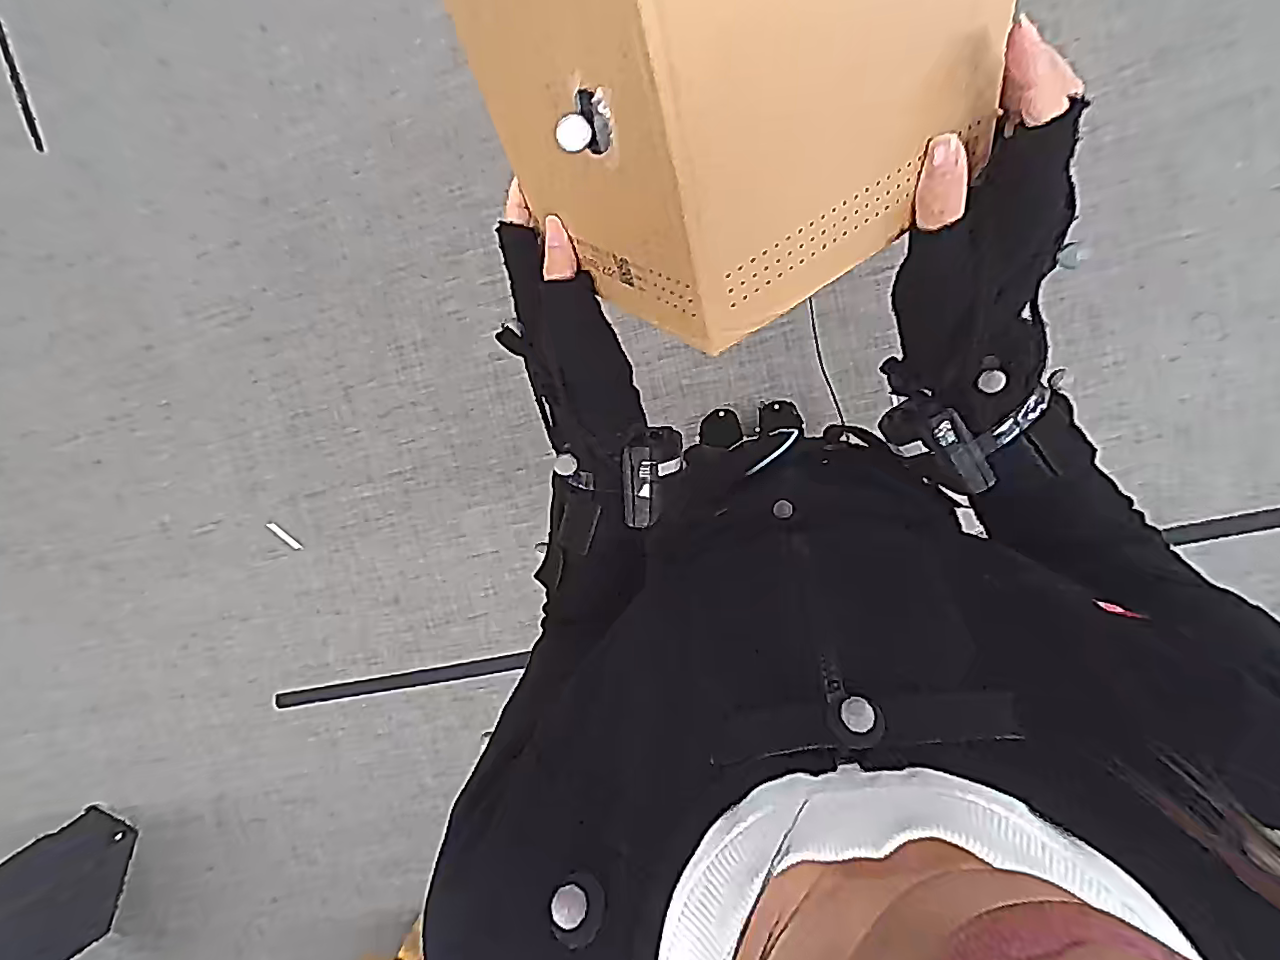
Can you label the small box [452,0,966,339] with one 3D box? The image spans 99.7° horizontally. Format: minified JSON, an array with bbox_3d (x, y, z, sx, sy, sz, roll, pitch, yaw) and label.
[{"bbox_3d":[0.037,-0.197,0.266,0.179,0.168,0.176,-34,135,-12],"label":"small box"}]
